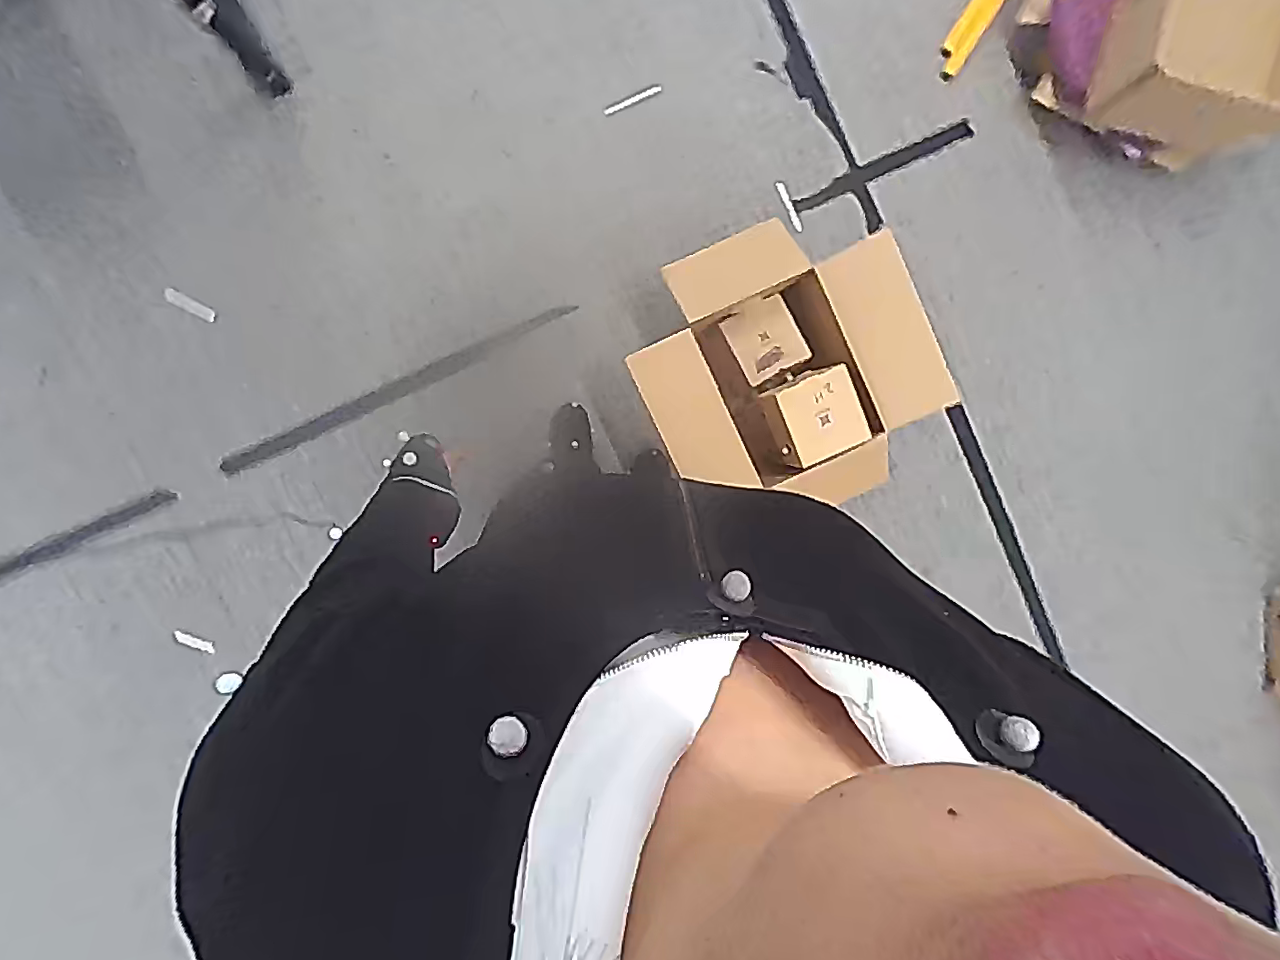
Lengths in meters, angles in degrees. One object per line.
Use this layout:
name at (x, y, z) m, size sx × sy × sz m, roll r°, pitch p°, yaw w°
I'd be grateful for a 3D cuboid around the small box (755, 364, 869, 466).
small box at (0.385, -0.147, 1.232) m, size 0.168 × 0.176 × 0.179 m, roll -23°, pitch 96°, yaw -1°
